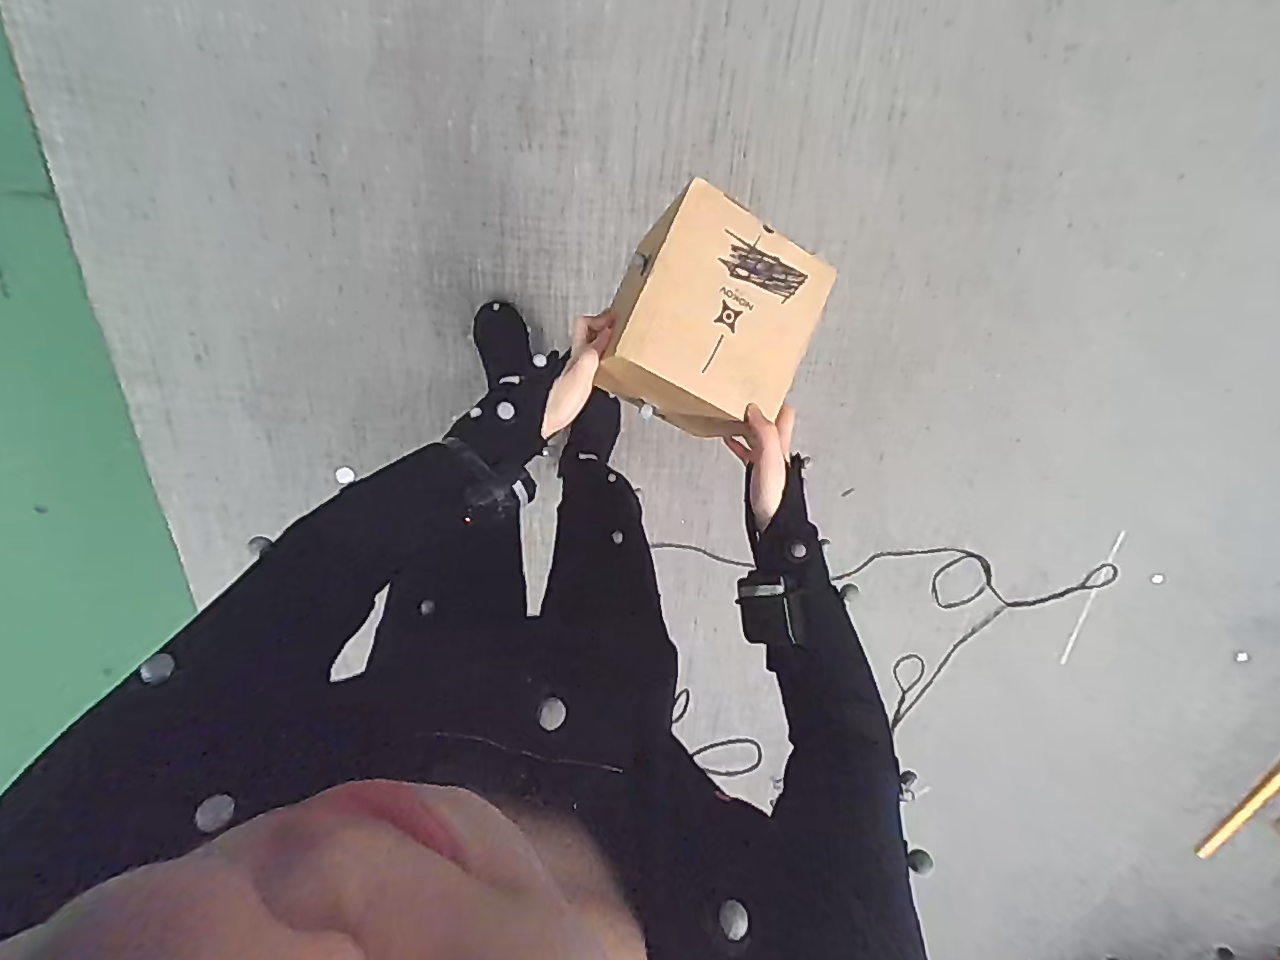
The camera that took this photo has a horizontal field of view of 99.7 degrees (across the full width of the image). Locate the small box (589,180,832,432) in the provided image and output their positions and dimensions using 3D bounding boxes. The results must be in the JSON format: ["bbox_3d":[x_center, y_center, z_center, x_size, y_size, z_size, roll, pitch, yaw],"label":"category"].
[{"bbox_3d":[0.061,-0.163,0.573,0.168,0.176,0.179,25,86,-17],"label":"small box"}]
